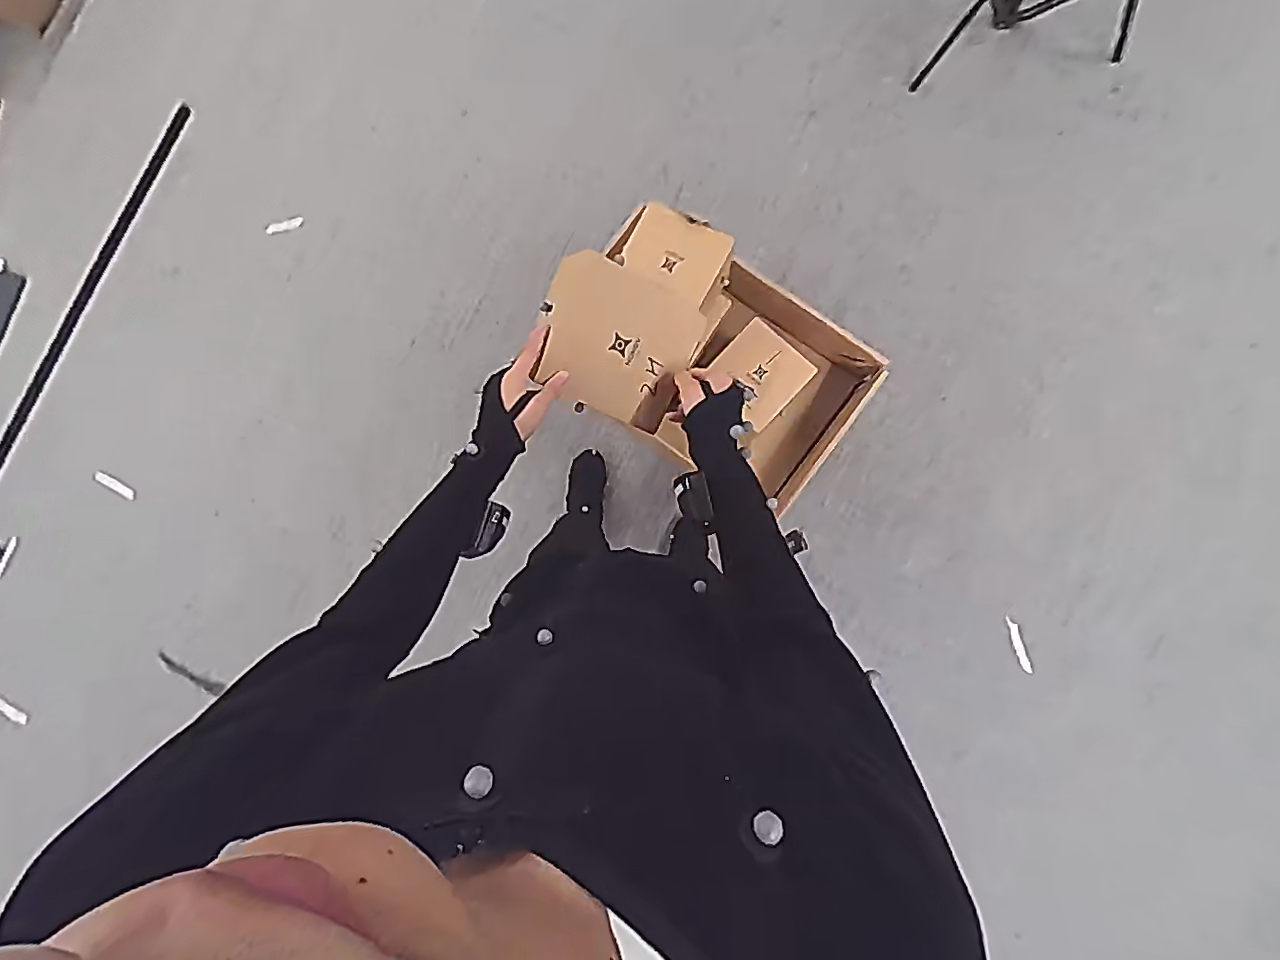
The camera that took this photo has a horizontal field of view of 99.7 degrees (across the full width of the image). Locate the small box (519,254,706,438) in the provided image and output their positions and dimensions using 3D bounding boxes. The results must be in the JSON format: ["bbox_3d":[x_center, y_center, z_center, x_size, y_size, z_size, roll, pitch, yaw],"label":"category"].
[{"bbox_3d":[-0.049,-0.177,0.729,0.179,0.176,0.168,22,99,-24],"label":"small box"}]

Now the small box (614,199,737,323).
[{"bbox_3d":[0.057,-0.362,0.992,0.168,0.176,0.179,28,89,5],"label":"small box"}]
